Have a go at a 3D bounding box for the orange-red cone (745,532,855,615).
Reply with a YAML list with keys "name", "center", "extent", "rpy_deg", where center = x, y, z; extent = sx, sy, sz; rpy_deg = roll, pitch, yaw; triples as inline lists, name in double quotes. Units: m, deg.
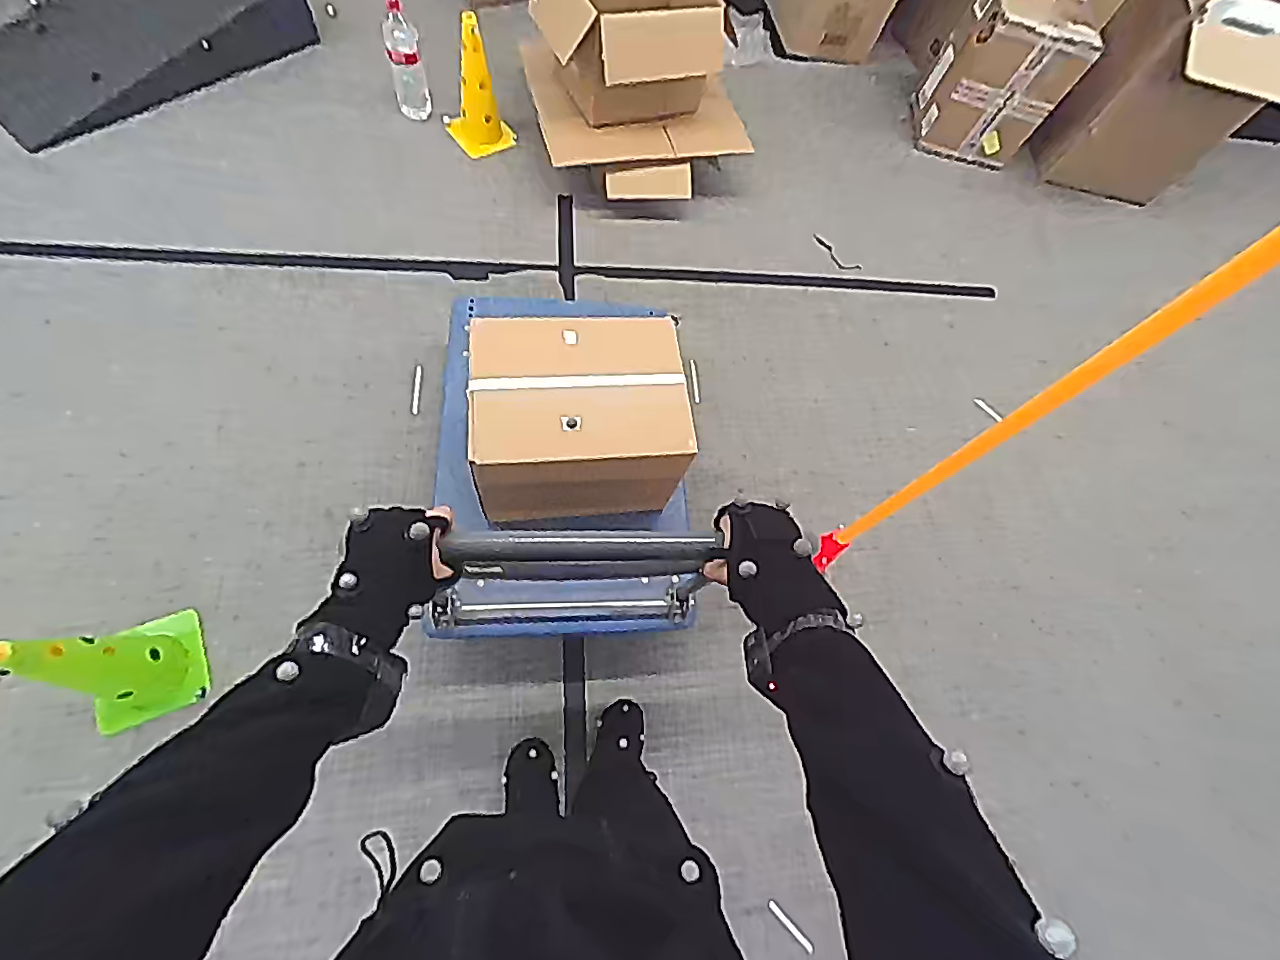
- name: "orange-red cone"
  center: [0.402, 0.190, 1.277]
  extent: [0.199, 0.360, 0.198]
  rpy_deg: [6, 67, -8]
